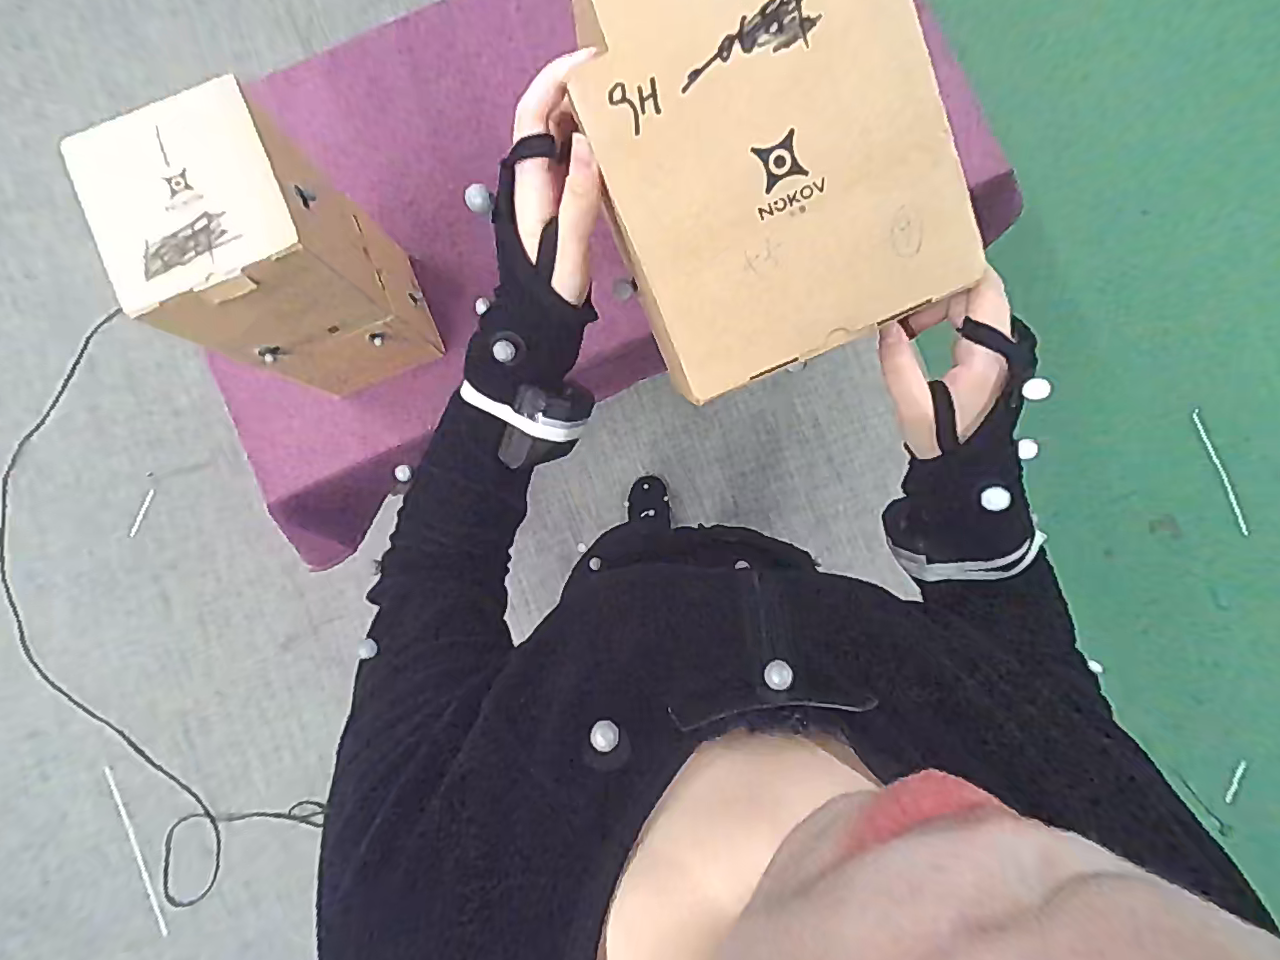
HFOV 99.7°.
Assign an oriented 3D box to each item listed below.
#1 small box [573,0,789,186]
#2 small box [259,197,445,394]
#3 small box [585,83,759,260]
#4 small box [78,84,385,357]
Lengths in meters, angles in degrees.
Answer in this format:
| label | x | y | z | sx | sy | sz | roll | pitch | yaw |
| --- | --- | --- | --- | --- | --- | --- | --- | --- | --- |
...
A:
| label | x | y | z | sx | sy | sz | roll | pitch | yaw |
| --- | --- | --- | --- | --- | --- | --- | --- | --- | --- |
| small box | 0.034 | -0.445 | 0.568 | 0.168 | 0.176 | 0.179 | -19 | 86 | 0 |
| small box | -0.396 | -0.232 | 0.729 | 0.179 | 0.176 | 0.168 | -23 | 86 | -1 |
| small box | 0.041 | -0.427 | 0.730 | 0.179 | 0.176 | 0.168 | -18 | 87 | 0 |
| small box | -0.402 | -0.246 | 0.565 | 0.168 | 0.176 | 0.179 | -23 | 85 | -1 |
